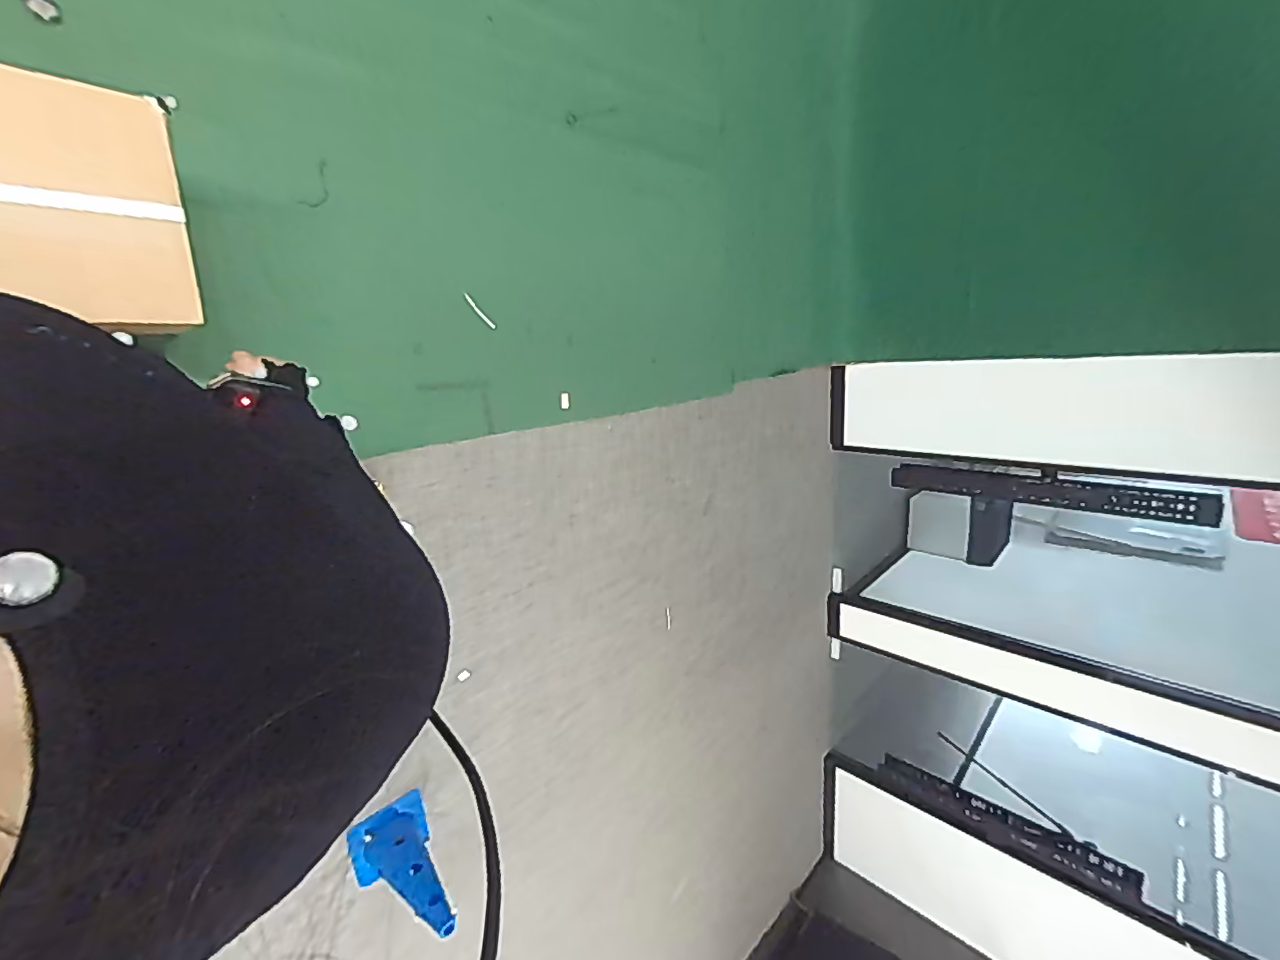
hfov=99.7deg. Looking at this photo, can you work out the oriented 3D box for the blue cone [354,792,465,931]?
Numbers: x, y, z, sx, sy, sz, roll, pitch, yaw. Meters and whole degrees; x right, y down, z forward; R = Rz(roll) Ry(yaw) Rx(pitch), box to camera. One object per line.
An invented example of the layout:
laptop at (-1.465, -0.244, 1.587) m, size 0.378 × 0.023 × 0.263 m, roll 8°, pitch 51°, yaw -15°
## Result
blue cone at (-0.556, 0.995, 1.362) m, size 0.192 × 0.380 × 0.193 m, roll -16°, pitch 109°, yaw -43°
